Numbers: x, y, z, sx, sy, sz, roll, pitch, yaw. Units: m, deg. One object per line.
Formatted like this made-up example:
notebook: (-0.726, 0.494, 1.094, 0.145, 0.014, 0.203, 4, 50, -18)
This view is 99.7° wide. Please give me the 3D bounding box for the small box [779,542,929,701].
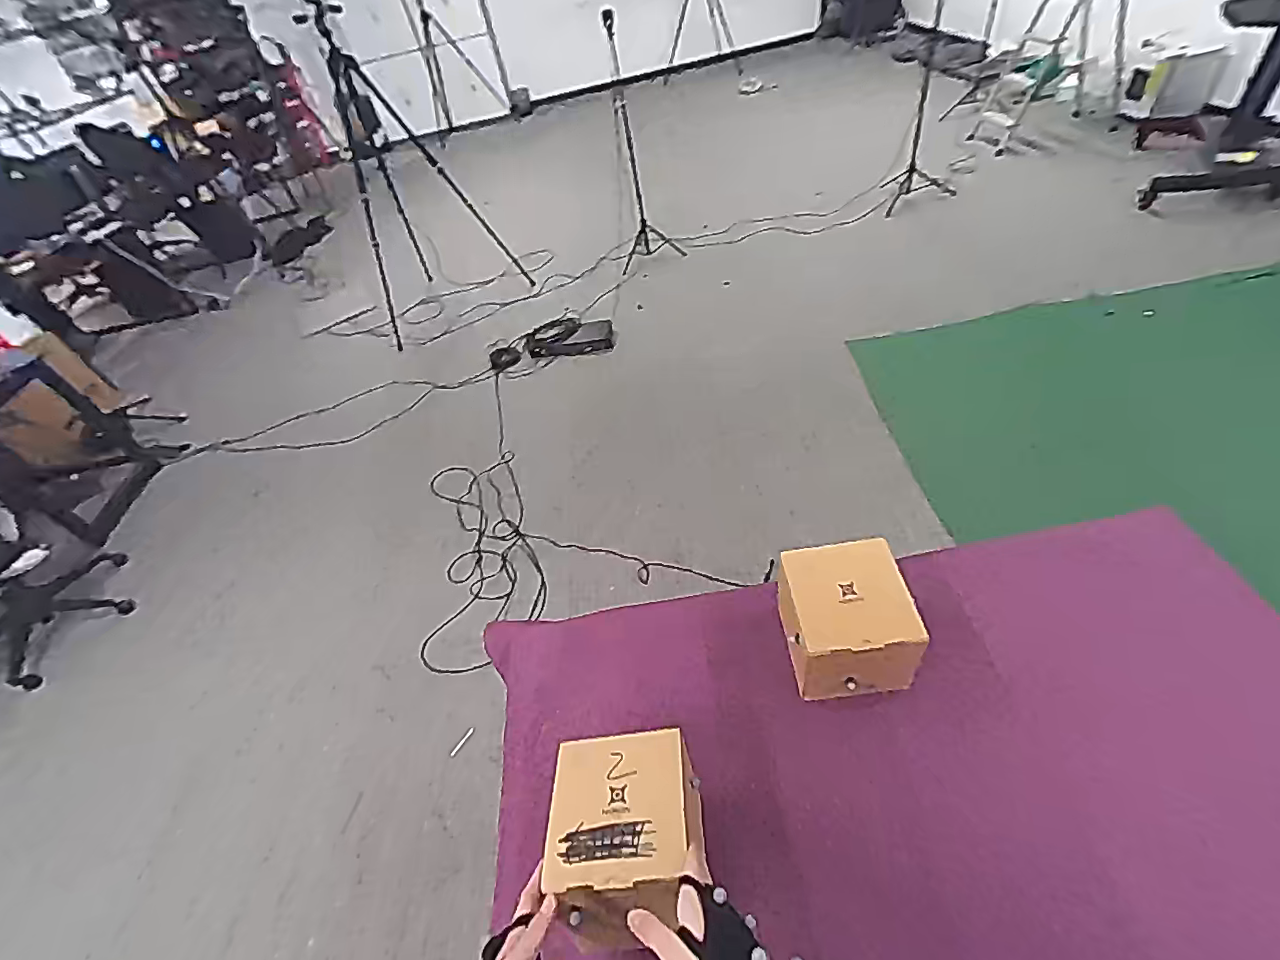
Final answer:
small box: (0.318, 0.223, 0.850, 0.168, 0.176, 0.179, -9, 47, 4)
